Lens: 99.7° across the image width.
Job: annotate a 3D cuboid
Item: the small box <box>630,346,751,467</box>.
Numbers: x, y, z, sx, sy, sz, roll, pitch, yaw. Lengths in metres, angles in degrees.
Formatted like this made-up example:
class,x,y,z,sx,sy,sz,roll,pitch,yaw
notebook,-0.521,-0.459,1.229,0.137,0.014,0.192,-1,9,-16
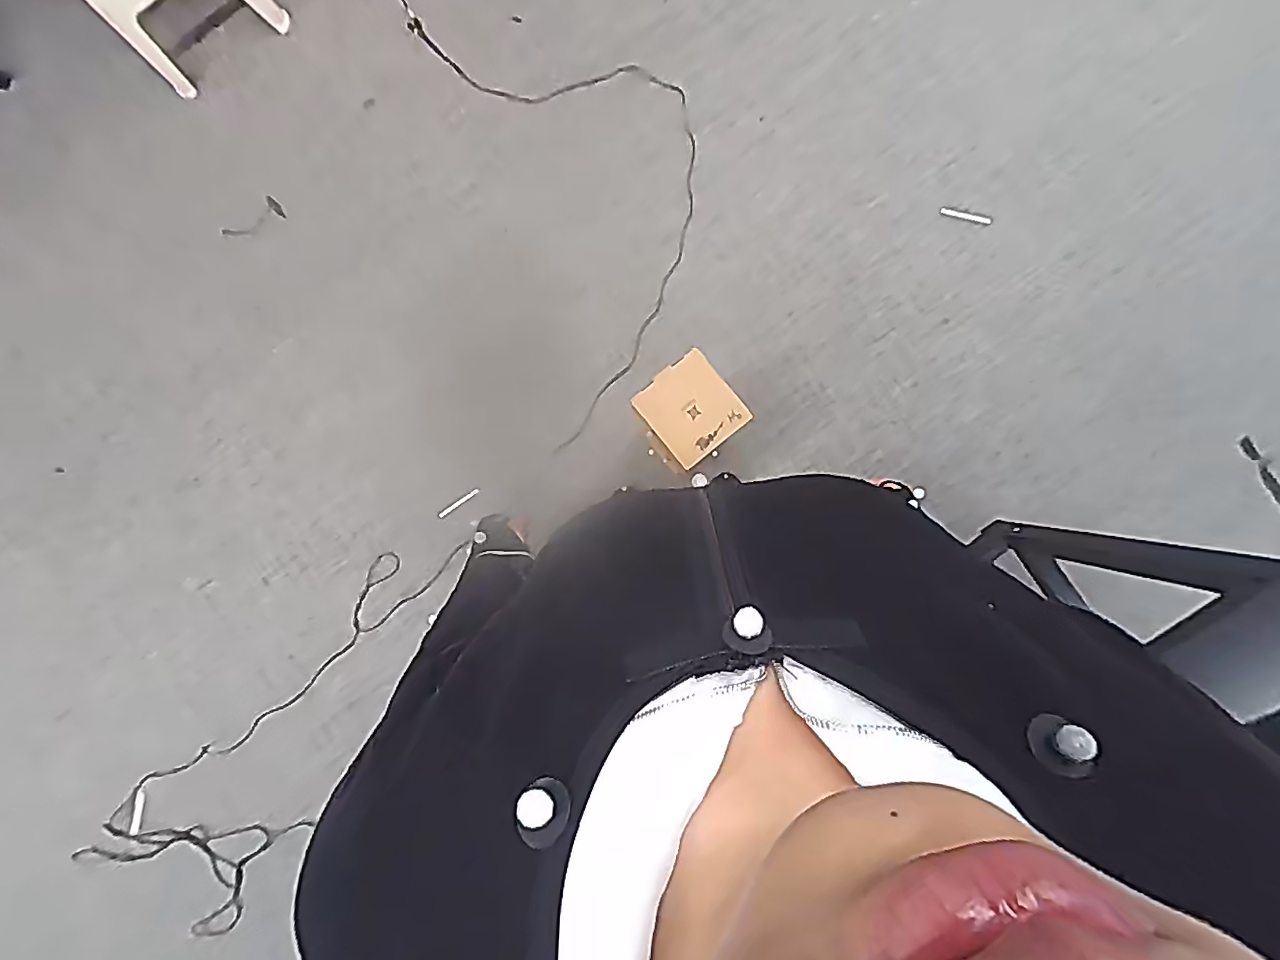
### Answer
class,x,y,z,sx,sy,sz,roll,pitch,yaw
small box,0.097,-0.138,1.101,0.168,0.176,0.179,-39,89,2

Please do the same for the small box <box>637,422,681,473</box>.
class,x,y,z,sx,sy,sz,roll,pitch,yaw
small box,0.107,-0.134,1.427,0.179,0.176,0.168,-39,89,3
